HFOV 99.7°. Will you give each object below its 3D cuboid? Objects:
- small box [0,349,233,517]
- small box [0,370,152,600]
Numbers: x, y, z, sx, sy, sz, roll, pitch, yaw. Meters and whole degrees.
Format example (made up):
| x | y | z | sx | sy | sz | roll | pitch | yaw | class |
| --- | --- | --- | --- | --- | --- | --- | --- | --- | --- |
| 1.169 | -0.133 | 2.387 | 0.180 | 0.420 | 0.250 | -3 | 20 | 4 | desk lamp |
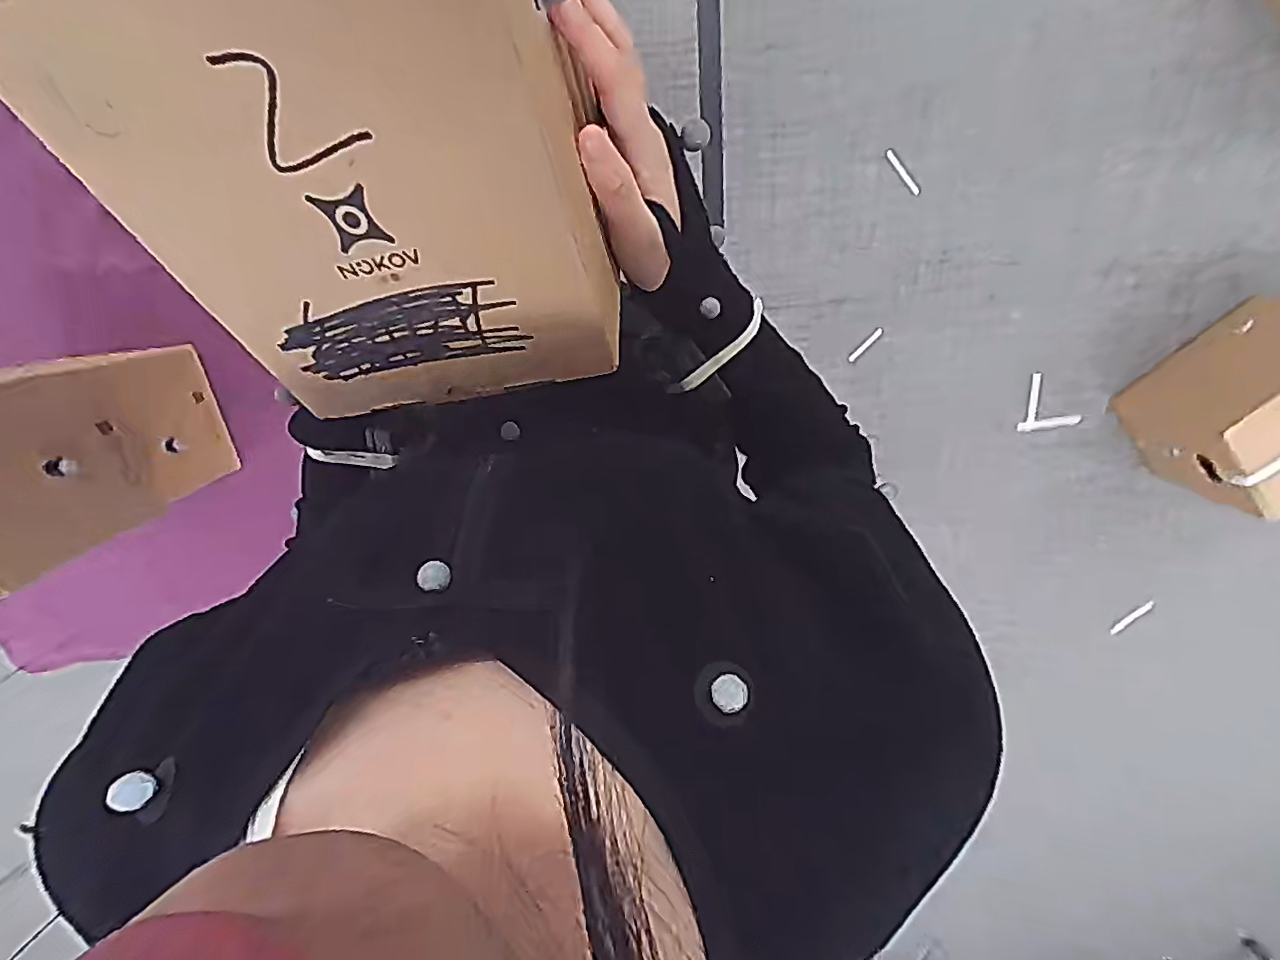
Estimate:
| x | y | z | sx | sy | sz | roll | pitch | yaw | class |
| --- | --- | --- | --- | --- | --- | --- | --- | --- | --- |
| -0.636 | -0.055 | 0.646 | 0.179 | 0.176 | 0.168 | -6 | 112 | 2 | small box |
| -0.609 | 0.003 | 0.493 | 0.179 | 0.176 | 0.168 | -7 | 112 | 2 | small box |
